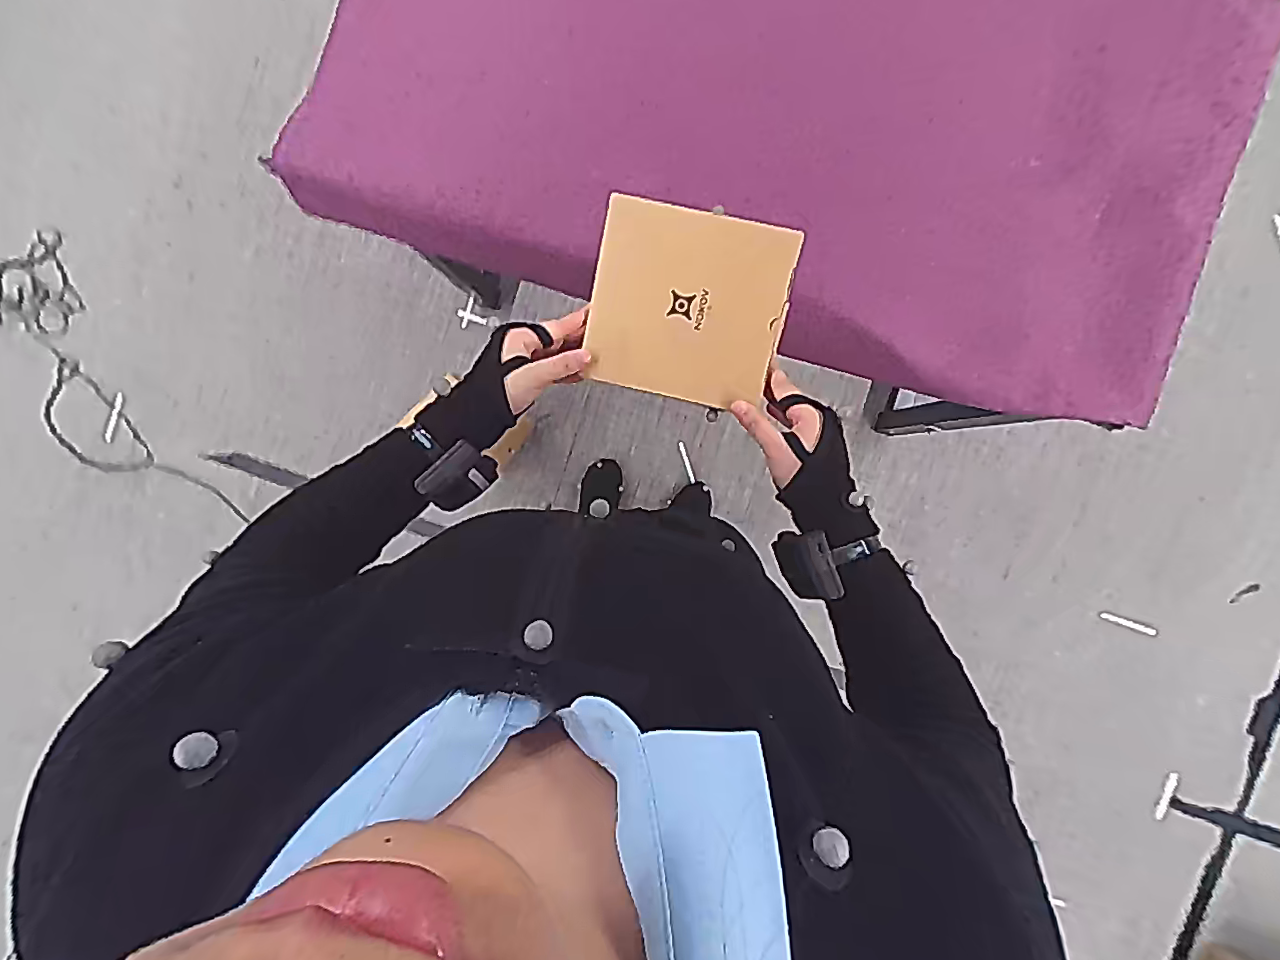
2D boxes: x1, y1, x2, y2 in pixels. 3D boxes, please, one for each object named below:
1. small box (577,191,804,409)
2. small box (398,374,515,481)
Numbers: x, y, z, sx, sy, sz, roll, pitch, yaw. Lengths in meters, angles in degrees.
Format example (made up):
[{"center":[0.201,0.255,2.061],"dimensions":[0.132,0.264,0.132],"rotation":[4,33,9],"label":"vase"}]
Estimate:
[{"center":[0.048,-0.171,0.565],"dimensions":[0.179,0.176,0.168],"rotation":[12,100,2],"label":"small box"},{"center":[-0.412,-0.120,1.255],"dimensions":[0.179,0.176,0.168],"rotation":[-43,91,4],"label":"small box"}]
